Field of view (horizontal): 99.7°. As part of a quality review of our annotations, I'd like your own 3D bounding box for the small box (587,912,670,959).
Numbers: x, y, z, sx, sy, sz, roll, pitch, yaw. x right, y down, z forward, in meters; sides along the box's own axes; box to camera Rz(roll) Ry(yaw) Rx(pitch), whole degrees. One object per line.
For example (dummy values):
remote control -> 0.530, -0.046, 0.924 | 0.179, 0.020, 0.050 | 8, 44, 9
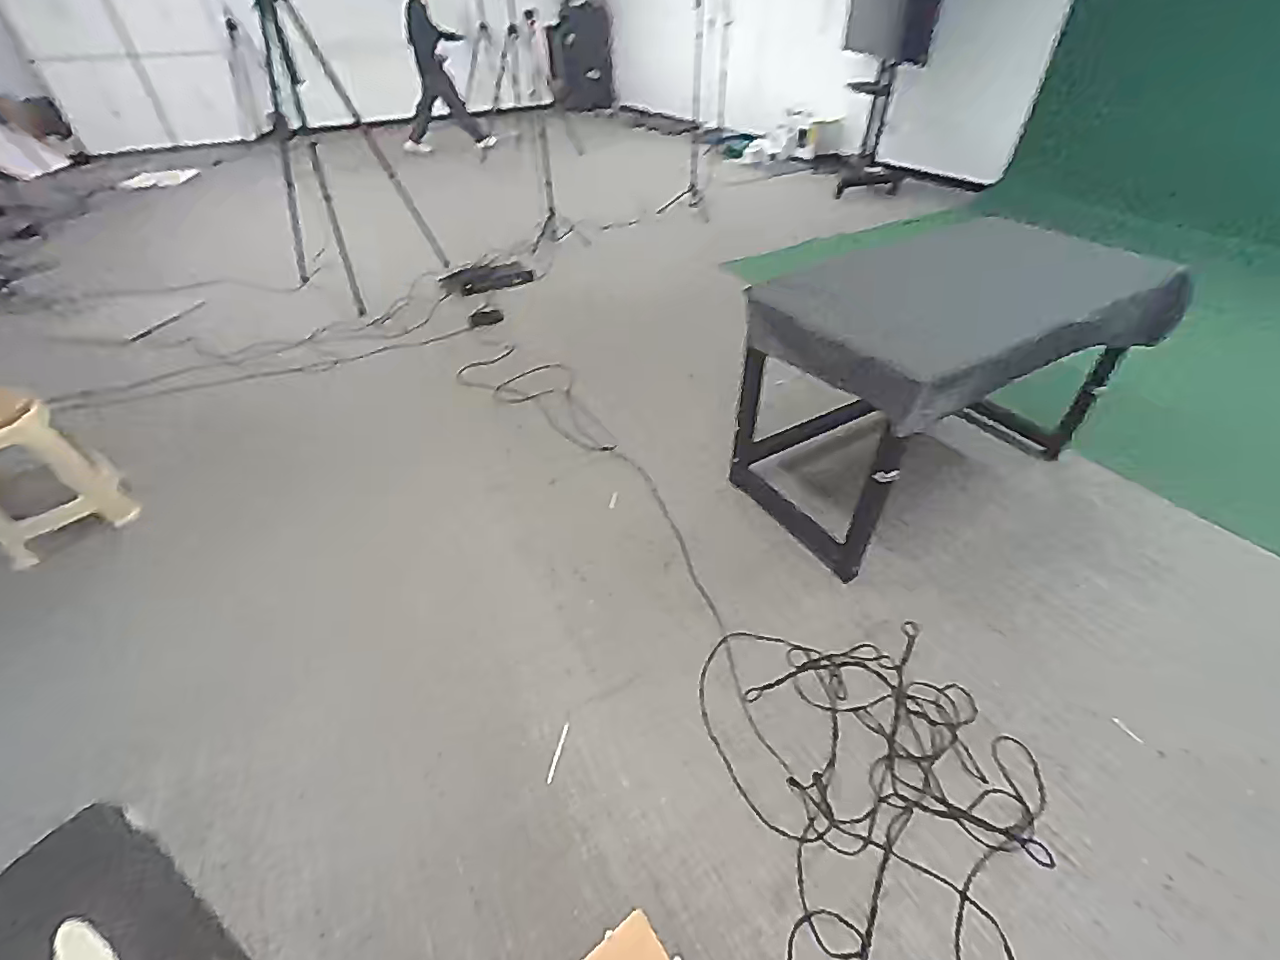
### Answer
small box -> -0.015, 0.888, 0.904 | 0.168, 0.176, 0.179 | -26, 48, -28
